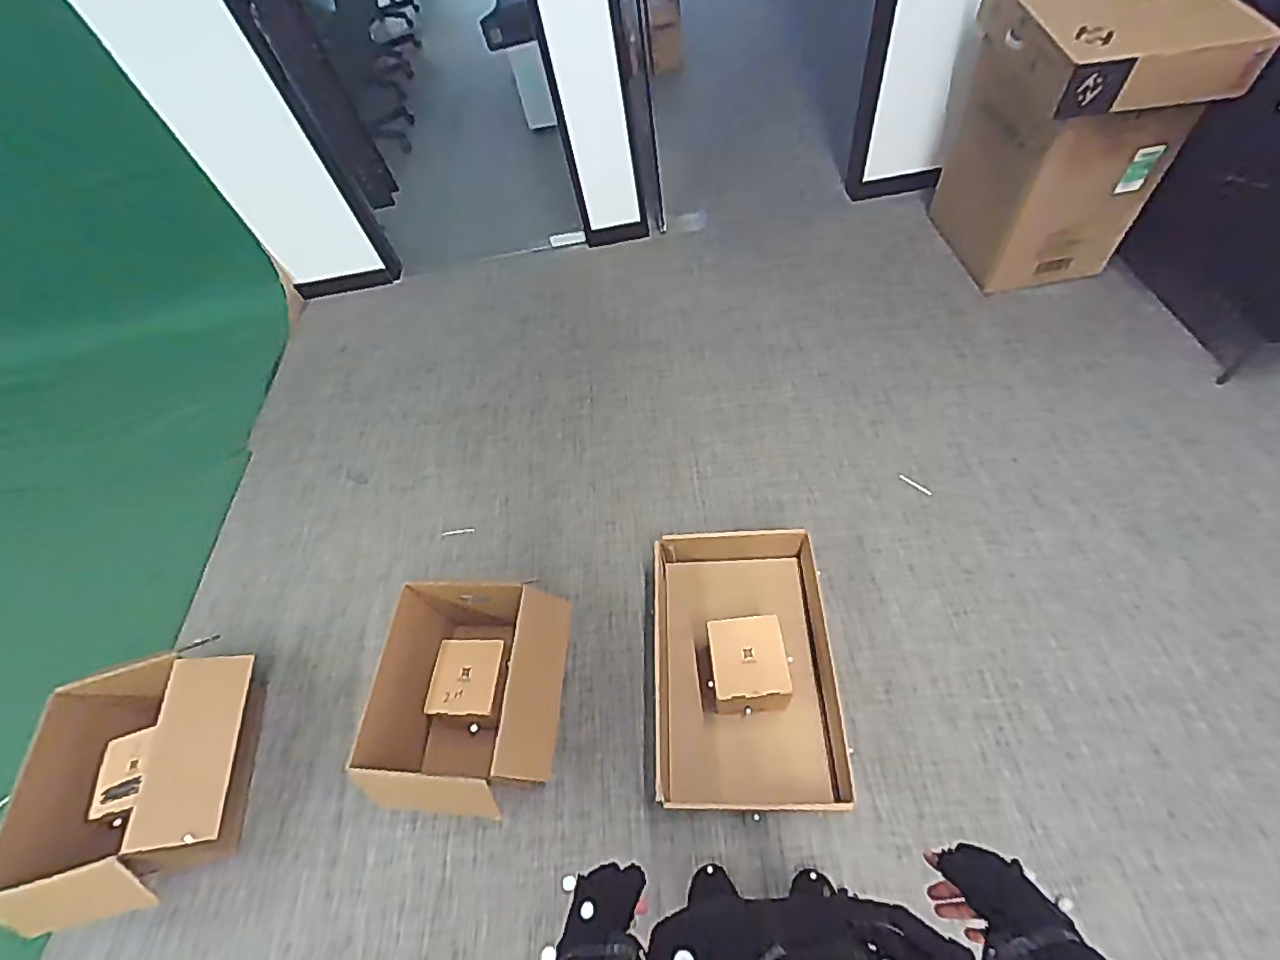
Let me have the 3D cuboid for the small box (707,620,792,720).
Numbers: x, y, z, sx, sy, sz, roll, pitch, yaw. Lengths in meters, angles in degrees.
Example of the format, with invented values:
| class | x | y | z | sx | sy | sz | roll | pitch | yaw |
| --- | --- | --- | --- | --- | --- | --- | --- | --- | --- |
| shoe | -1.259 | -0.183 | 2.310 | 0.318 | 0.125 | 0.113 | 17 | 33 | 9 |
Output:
| class | x | y | z | sx | sy | sz | roll | pitch | yaw |
| --- | --- | --- | --- | --- | --- | --- | --- | --- | --- |
| small box | 0.247 | 0.446 | 1.263 | 0.168 | 0.176 | 0.179 | -7 | 55 | 4 |
